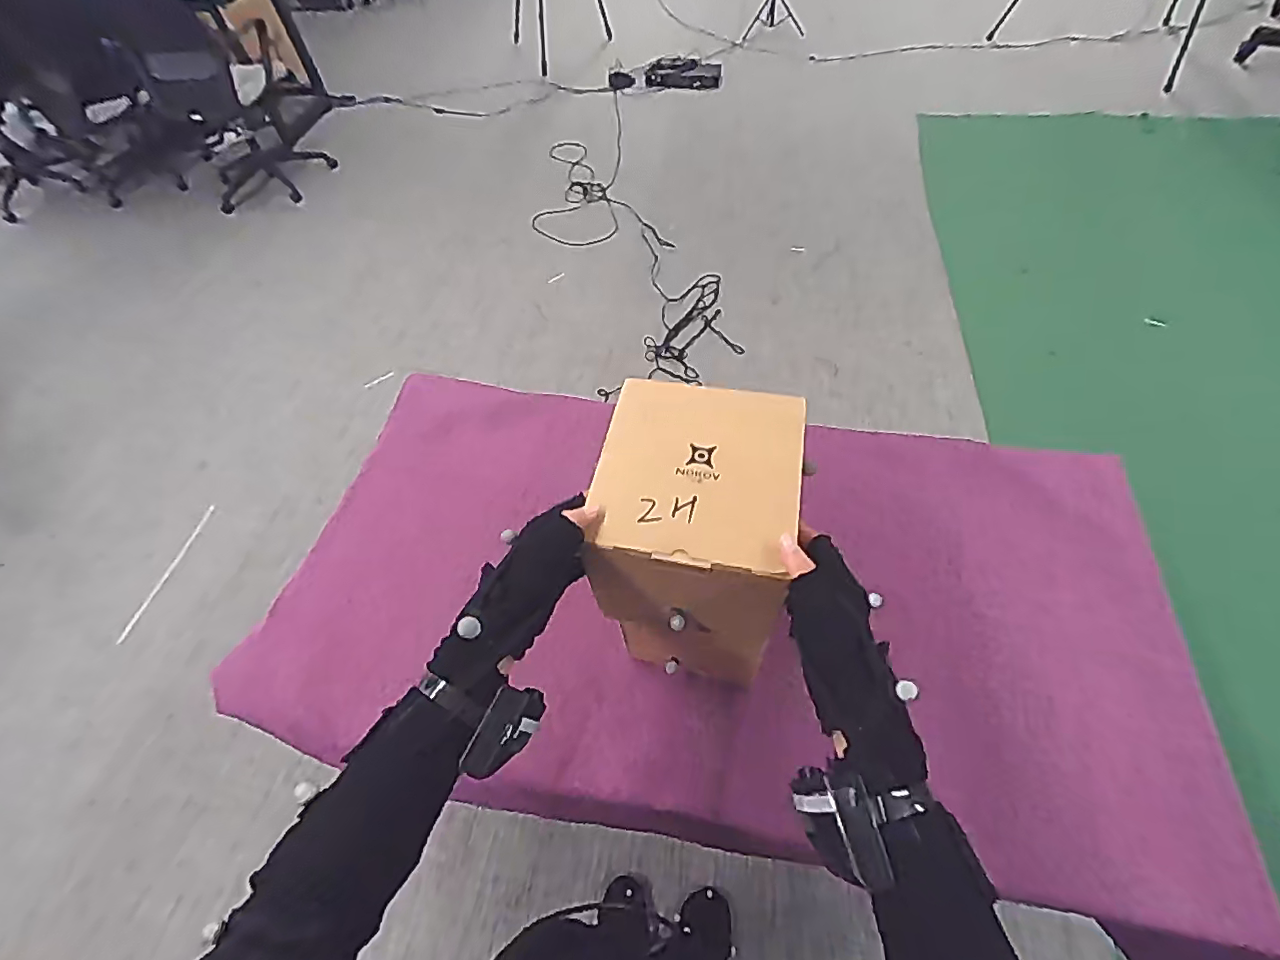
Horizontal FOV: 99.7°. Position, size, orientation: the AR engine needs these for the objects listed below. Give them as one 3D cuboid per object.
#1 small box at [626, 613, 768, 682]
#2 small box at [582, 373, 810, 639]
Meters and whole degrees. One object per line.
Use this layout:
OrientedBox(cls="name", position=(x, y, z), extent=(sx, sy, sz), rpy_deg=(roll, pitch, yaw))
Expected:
OrientedBox(cls="small box", position=(0.081, 0.133, 0.689), extent=(0.168, 0.176, 0.179), rpy_deg=(10, 57, 13))
OrientedBox(cls="small box", position=(0.056, 0.028, 0.512), extent=(0.168, 0.176, 0.179), rpy_deg=(9, 57, 10))
